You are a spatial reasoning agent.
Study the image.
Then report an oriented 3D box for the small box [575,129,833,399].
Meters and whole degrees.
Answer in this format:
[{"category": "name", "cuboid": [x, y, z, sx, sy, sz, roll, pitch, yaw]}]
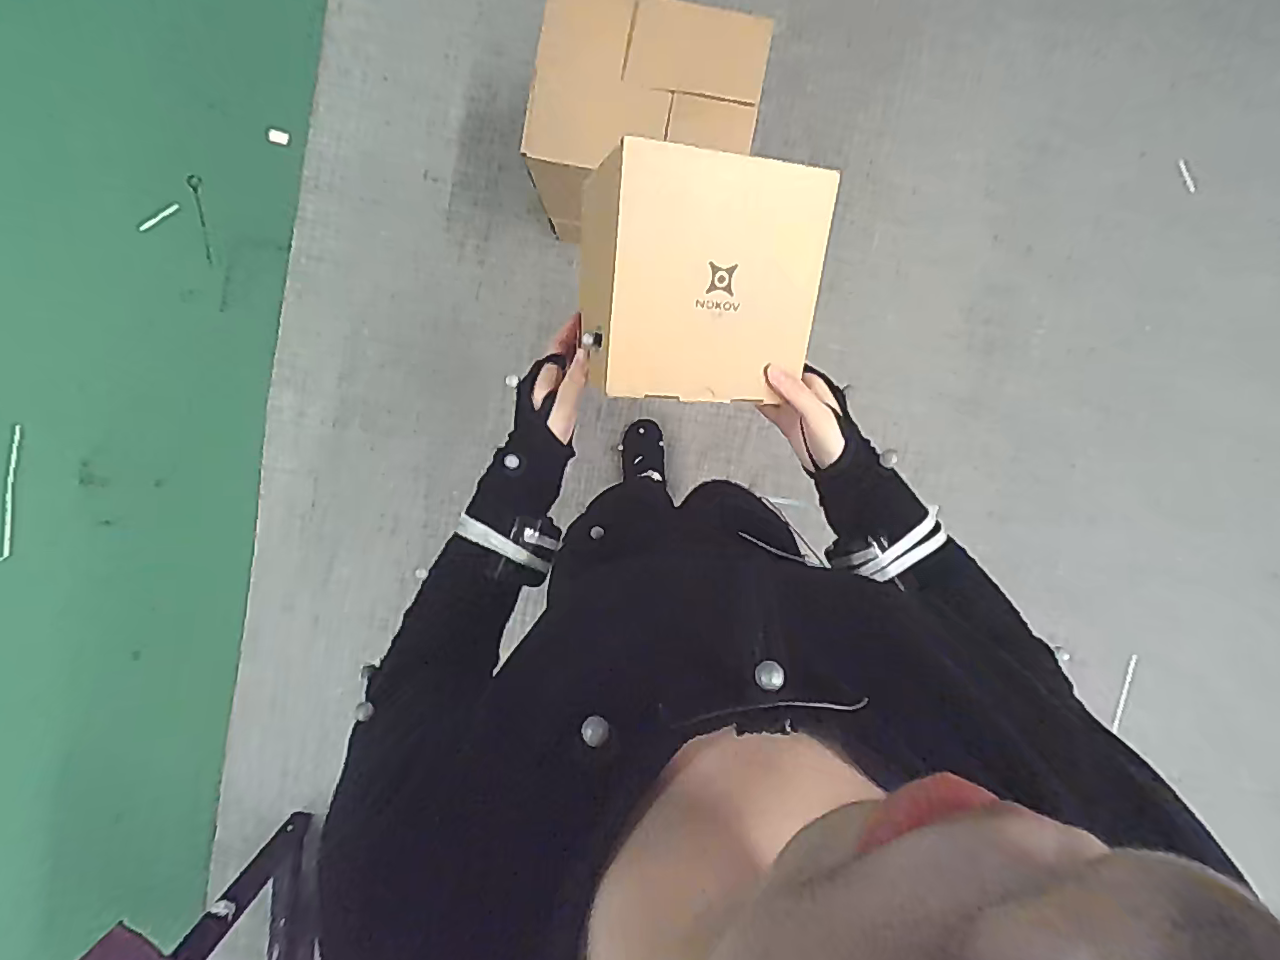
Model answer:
[{"category": "small box", "cuboid": [0.037, -0.178, 0.477, 0.168, 0.176, 0.179, 0, 111, -15]}]
